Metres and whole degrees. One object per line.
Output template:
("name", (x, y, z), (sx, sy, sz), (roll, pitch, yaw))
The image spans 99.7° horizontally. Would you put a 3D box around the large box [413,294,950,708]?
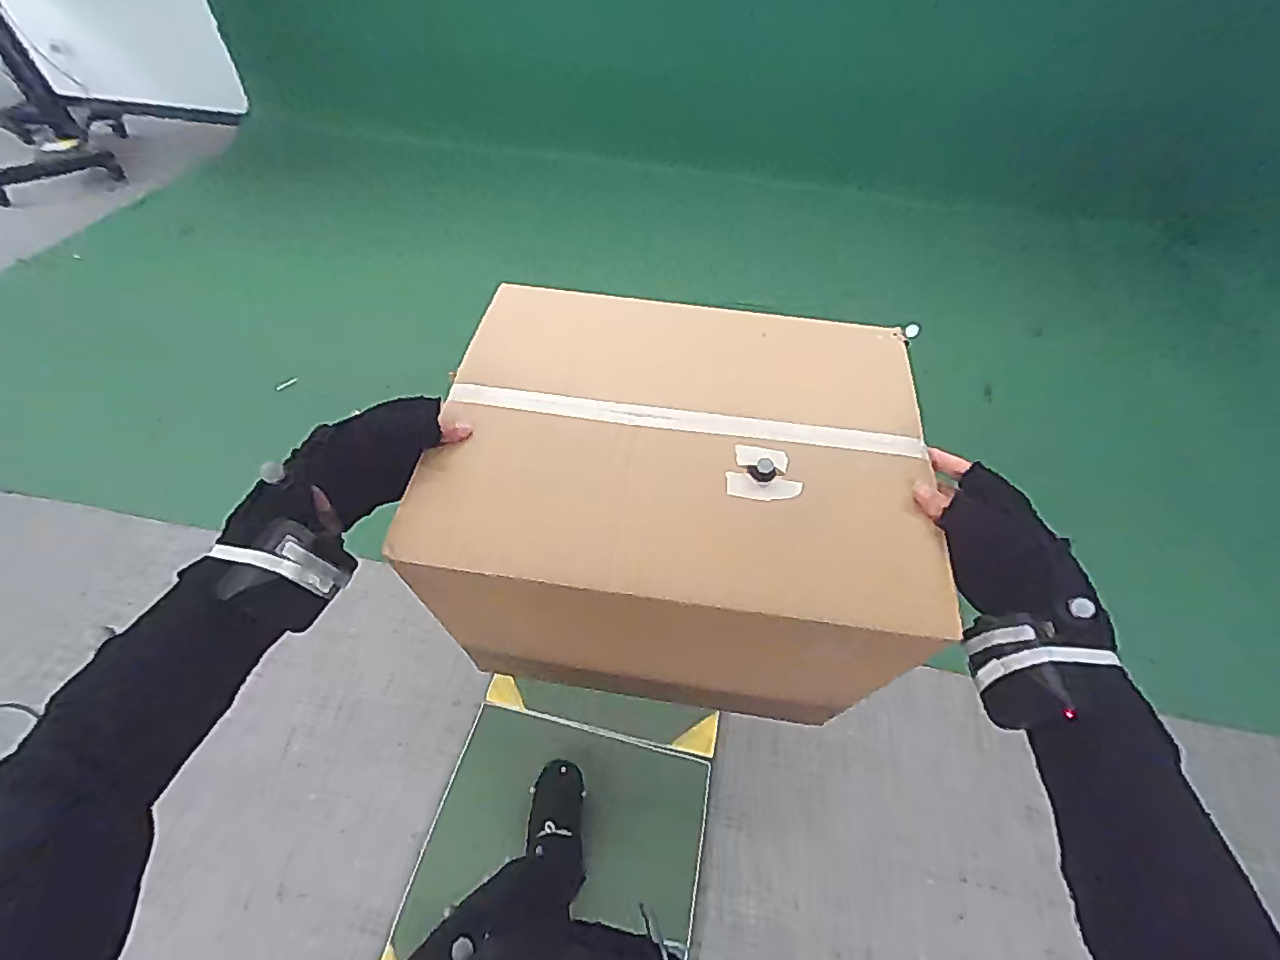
("large box", (0.036, 0.036, 0.596), (0.408, 0.320, 0.320), (8, 57, 2))
